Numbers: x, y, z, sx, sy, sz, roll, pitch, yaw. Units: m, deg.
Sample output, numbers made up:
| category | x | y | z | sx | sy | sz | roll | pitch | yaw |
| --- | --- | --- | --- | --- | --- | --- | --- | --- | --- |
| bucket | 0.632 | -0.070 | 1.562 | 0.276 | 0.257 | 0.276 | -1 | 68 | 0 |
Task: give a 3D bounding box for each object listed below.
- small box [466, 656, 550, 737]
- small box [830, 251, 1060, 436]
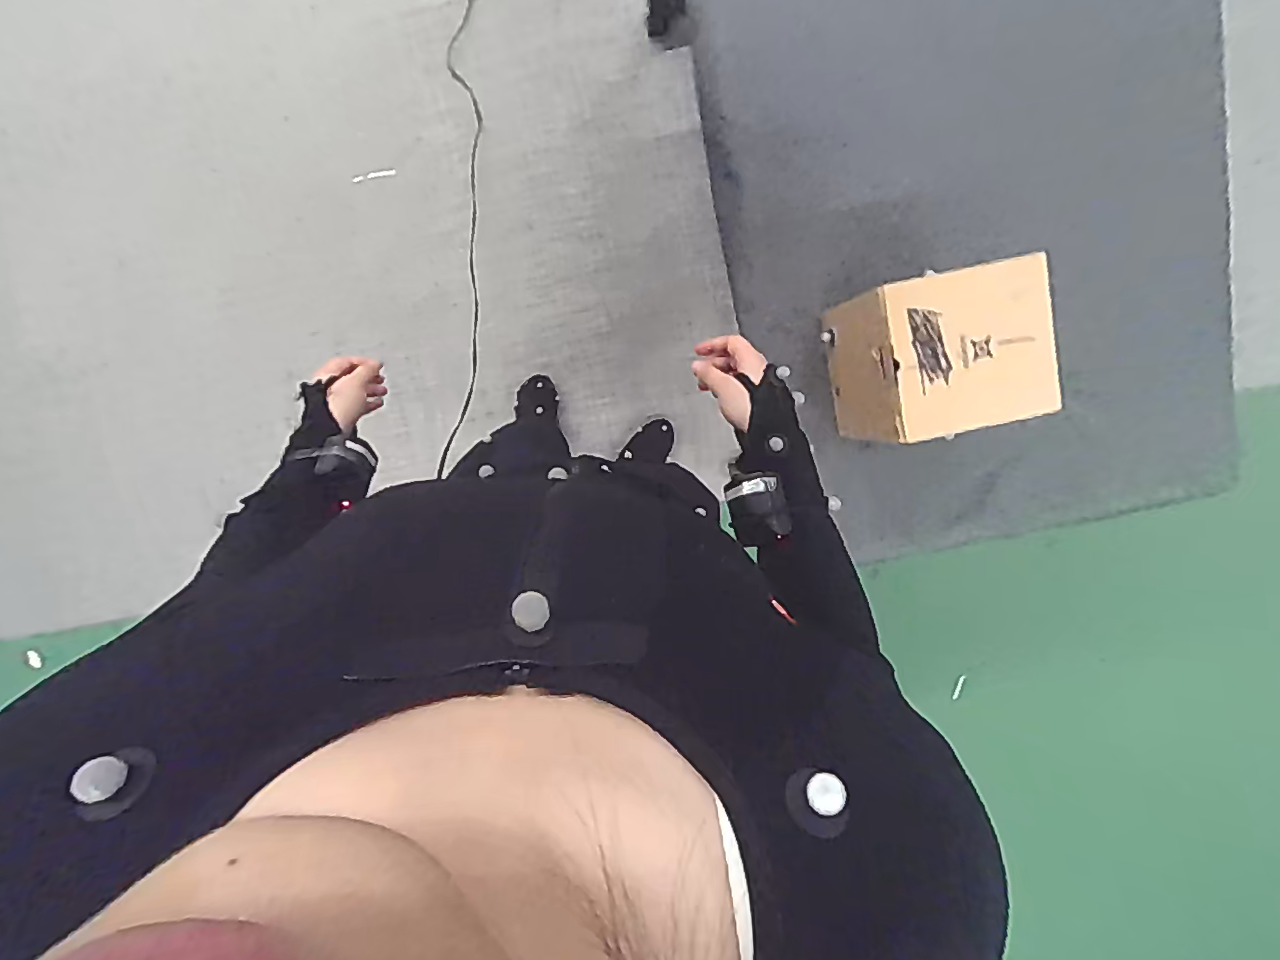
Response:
| category | x | y | z | sx | sy | sz | roll | pitch | yaw |
| --- | --- | --- | --- | --- | --- | --- | --- | --- | --- |
| small box | -0.353 | 0.607 | 1.491 | 0.179 | 0.176 | 0.168 | -12 | 97 | 2 |
| small box | 0.340 | -0.148 | 0.639 | 0.179 | 0.176 | 0.168 | -12 | 97 | -1 |
